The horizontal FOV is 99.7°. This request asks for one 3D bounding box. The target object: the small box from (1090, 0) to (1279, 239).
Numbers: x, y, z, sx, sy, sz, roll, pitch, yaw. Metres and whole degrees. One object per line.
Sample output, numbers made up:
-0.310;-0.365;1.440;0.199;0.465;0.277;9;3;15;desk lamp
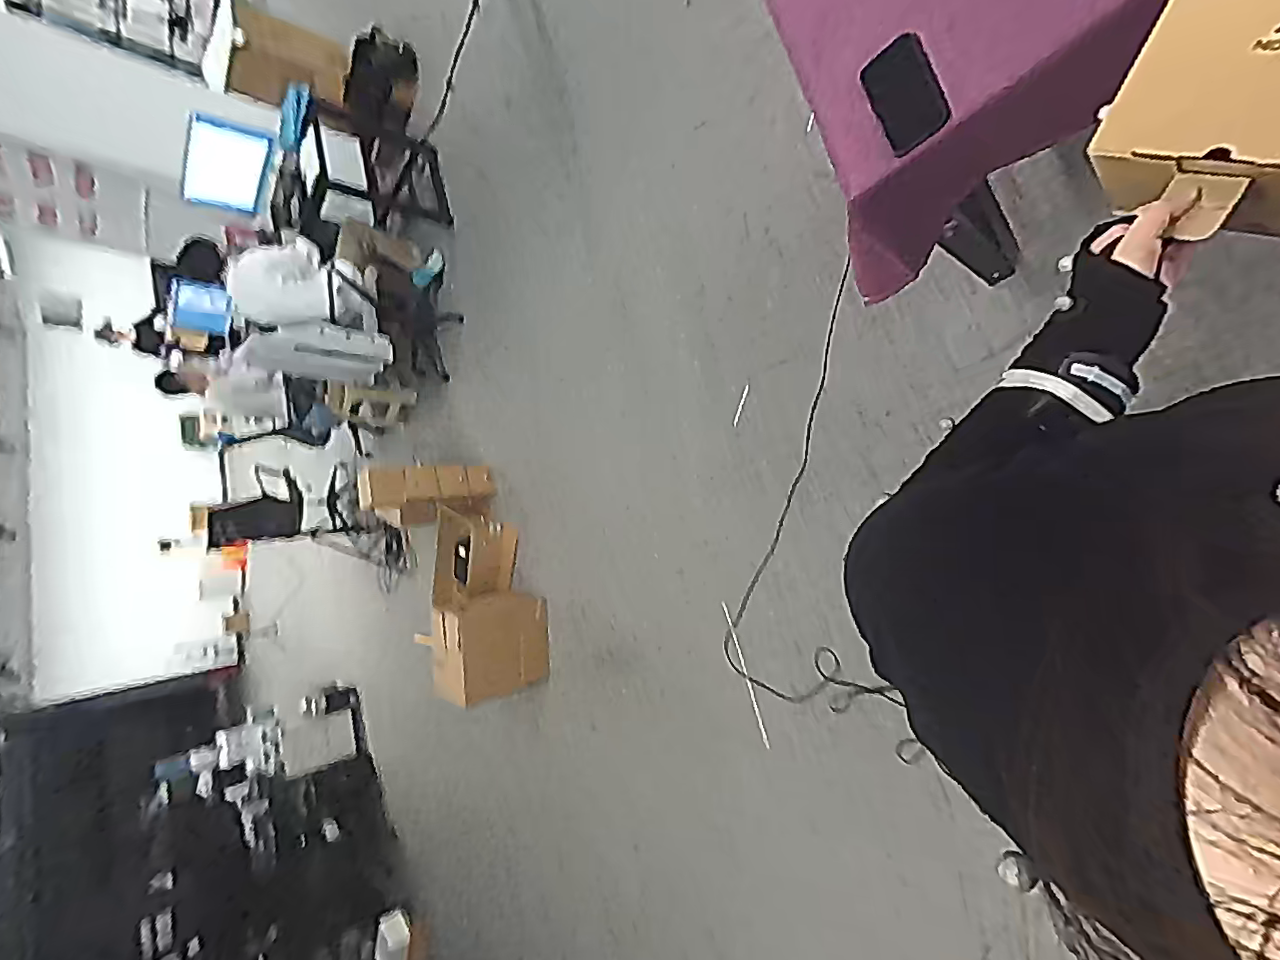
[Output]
0.508;-0.313;0.427;0.168;0.176;0.179;36;118;40;small box
